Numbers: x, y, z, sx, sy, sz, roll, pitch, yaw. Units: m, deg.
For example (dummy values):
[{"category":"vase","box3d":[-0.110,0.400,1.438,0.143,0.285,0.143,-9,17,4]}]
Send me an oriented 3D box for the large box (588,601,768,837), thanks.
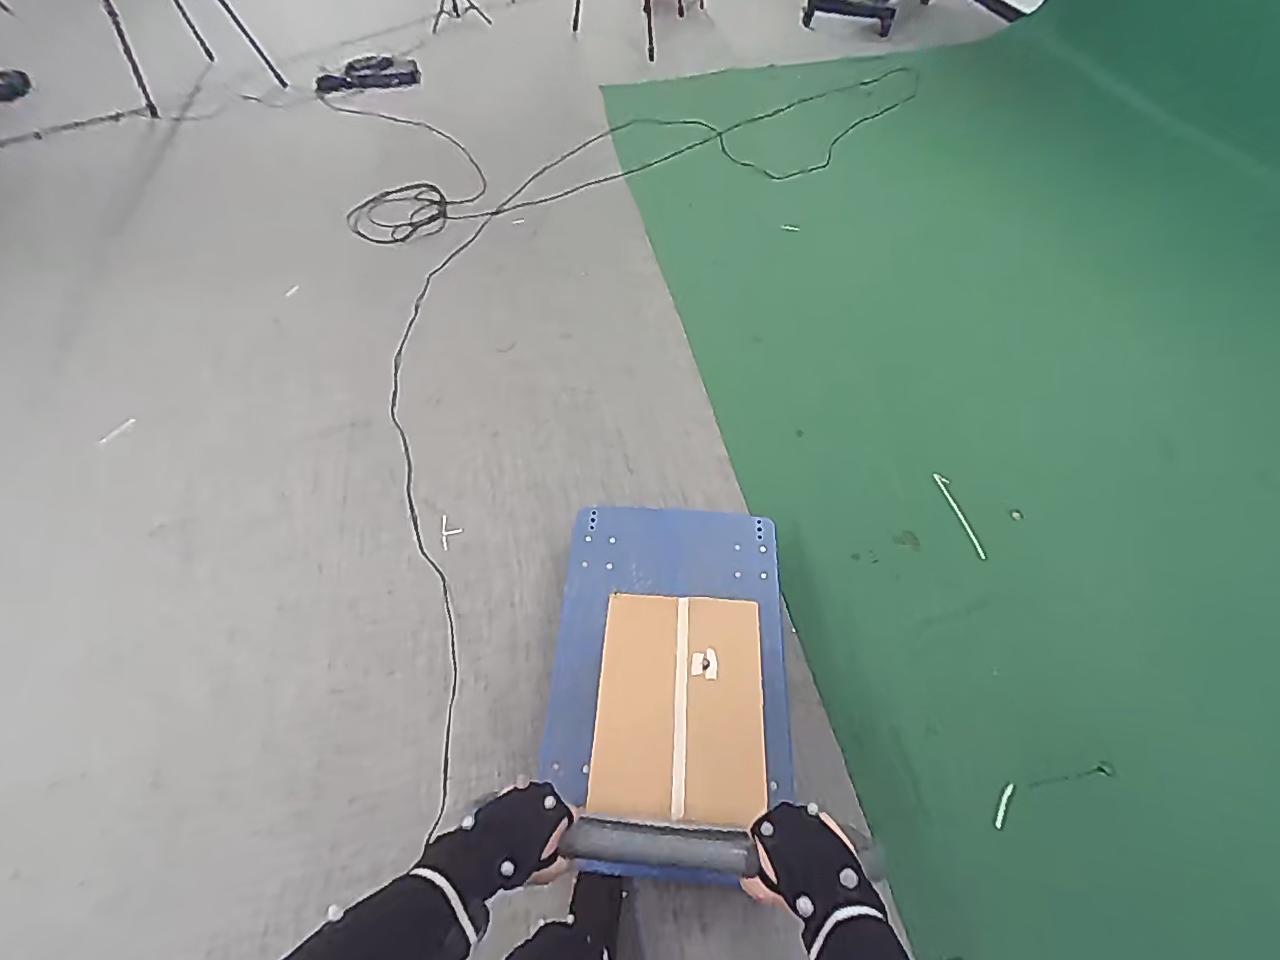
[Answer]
[{"category":"large box","box3d":[0.078,0.510,1.147,0.320,0.320,0.408,3,56,3]}]
